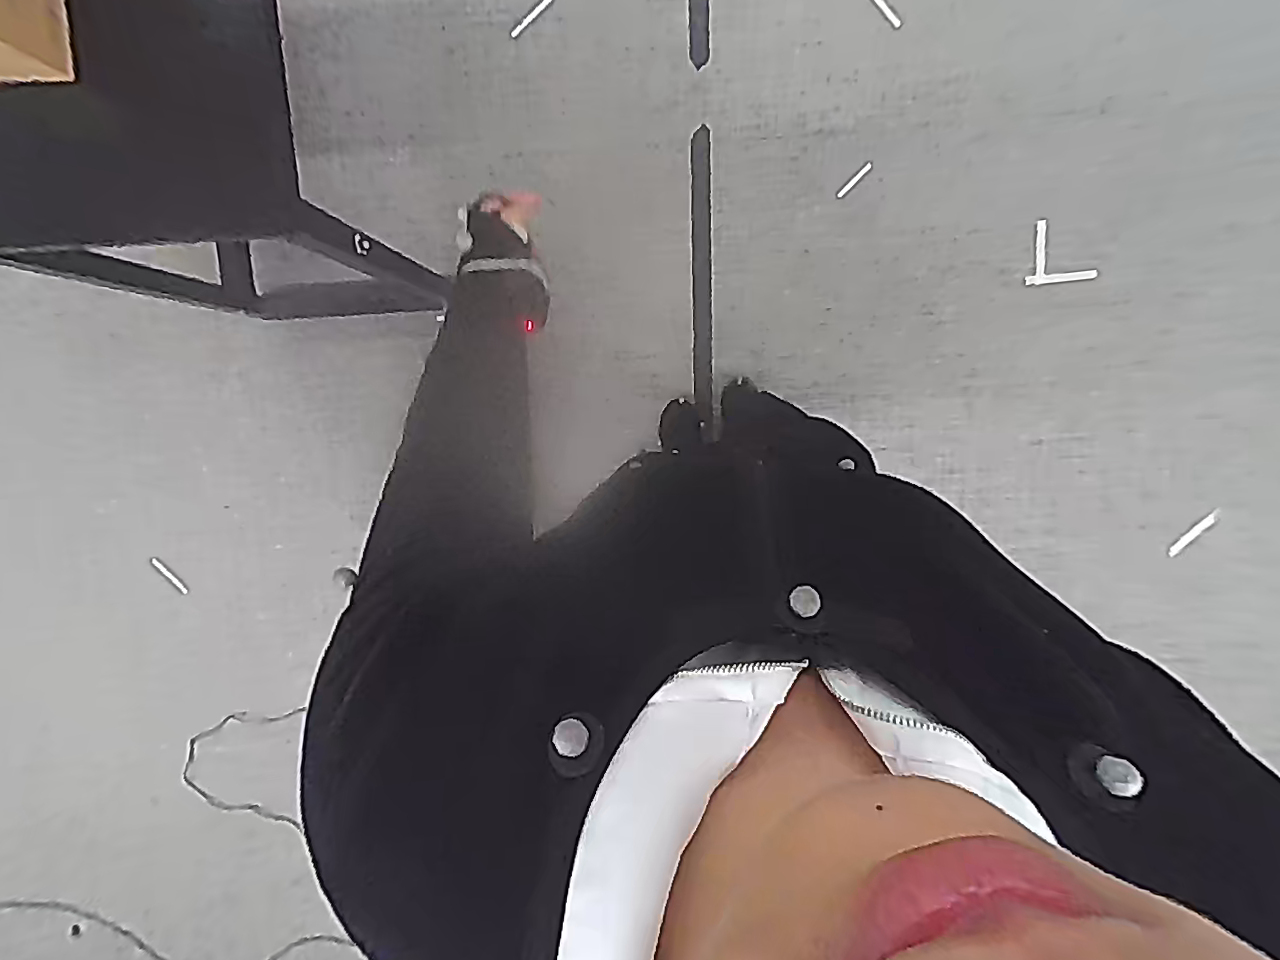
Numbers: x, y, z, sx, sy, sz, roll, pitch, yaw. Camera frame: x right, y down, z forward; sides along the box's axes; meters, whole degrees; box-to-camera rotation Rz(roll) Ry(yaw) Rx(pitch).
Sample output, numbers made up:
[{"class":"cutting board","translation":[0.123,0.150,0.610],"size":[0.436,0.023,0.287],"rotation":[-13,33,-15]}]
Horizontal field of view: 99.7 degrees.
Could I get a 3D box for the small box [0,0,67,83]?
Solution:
[{"class":"small box","translation":[-0.845,-0.607,0.642],"size":[0.179,0.176,0.168],"rotation":[1,98,3]}]
